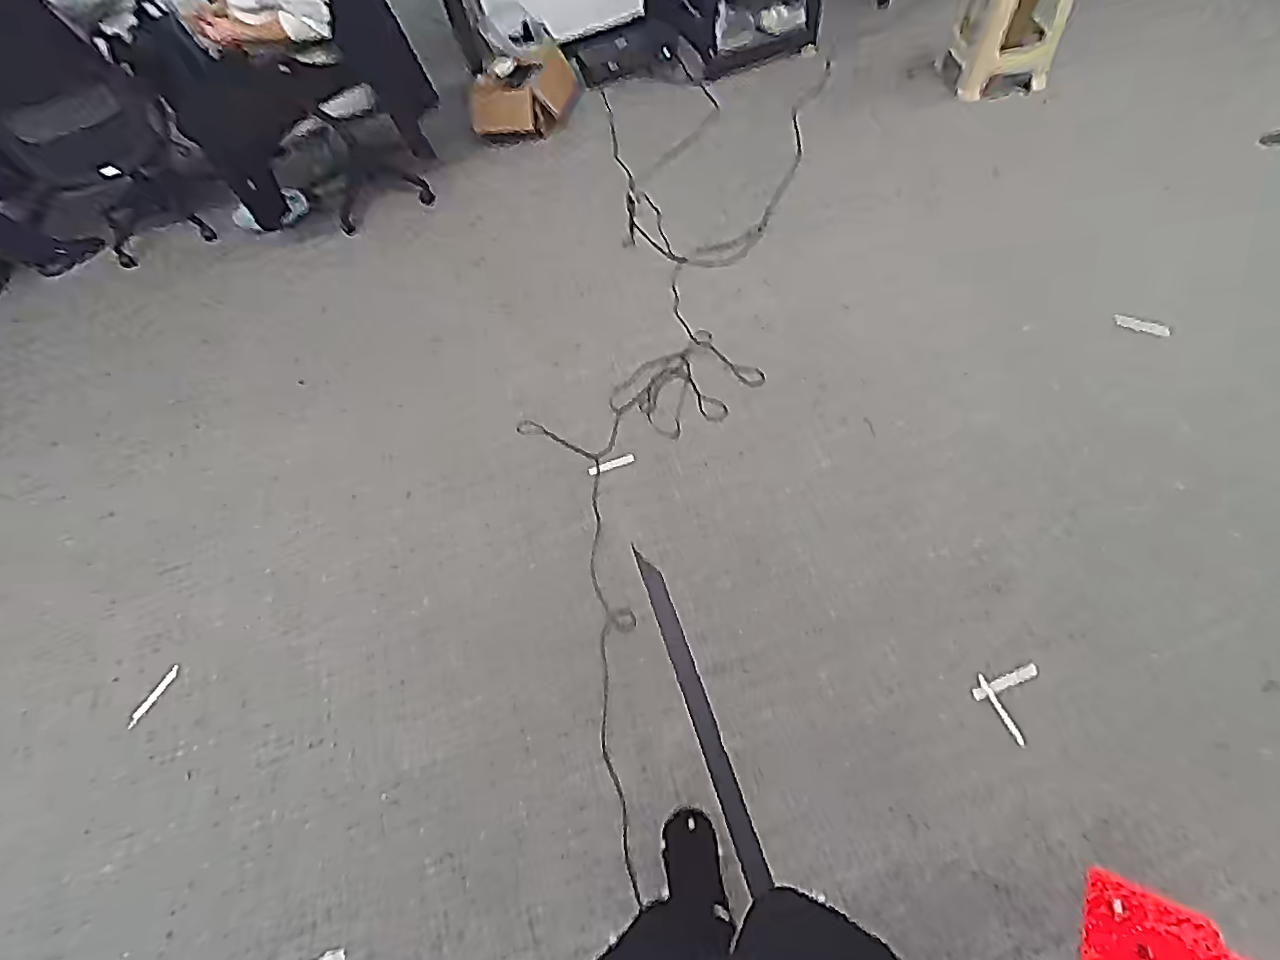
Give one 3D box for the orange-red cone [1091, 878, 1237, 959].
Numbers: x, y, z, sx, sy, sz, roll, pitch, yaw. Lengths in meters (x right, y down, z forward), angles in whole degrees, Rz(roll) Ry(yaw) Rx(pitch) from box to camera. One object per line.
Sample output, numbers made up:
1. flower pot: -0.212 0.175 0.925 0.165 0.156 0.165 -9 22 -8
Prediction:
1. orange-red cone: 0.848 0.731 0.757 0.198 0.360 0.199 20 66 20
